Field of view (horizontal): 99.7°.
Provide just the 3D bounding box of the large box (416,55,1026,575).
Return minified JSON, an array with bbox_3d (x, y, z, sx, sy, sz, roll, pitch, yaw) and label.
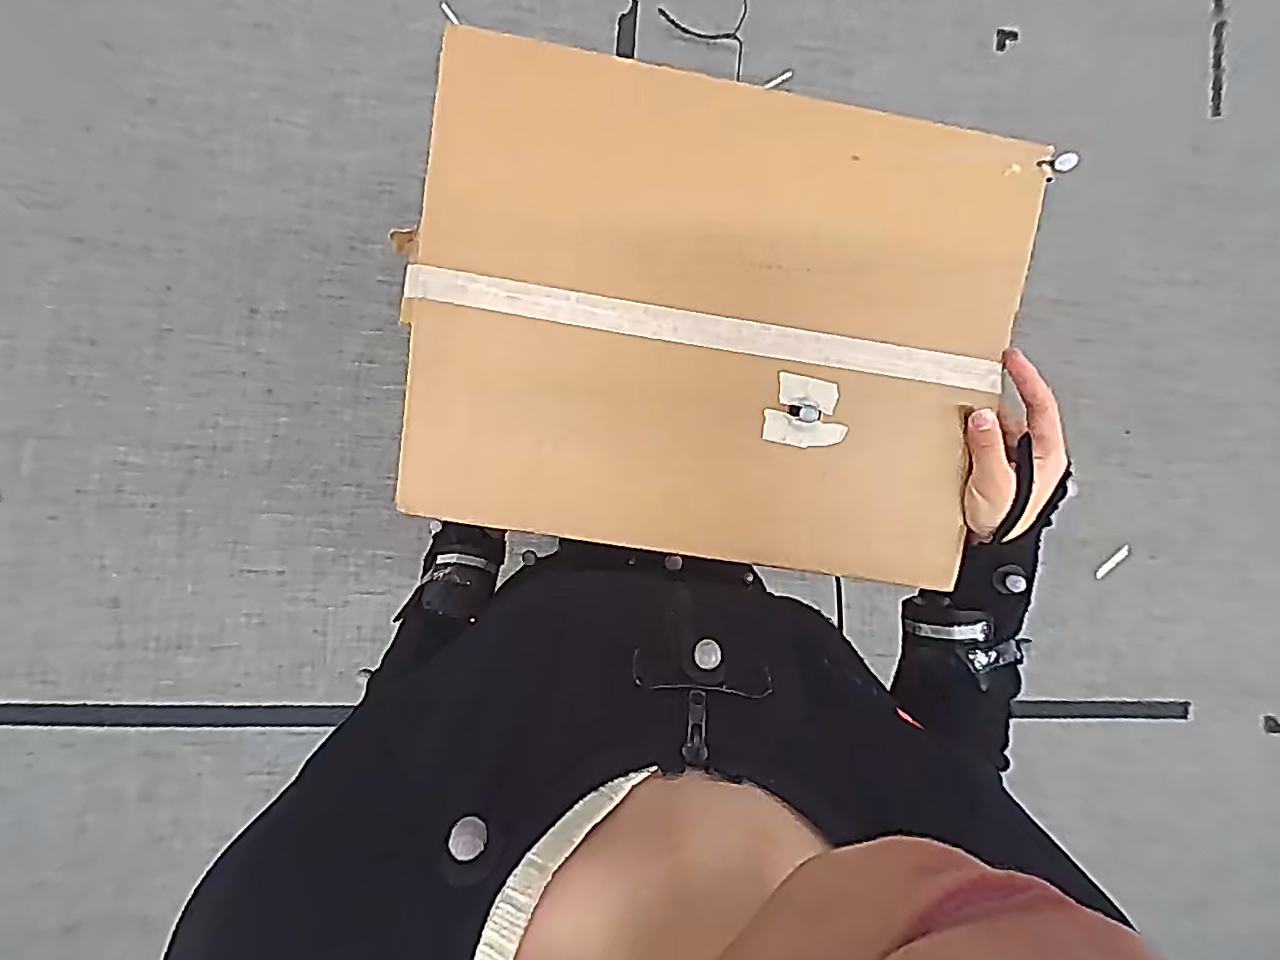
[{"bbox_3d":[0.044,-0.117,0.524,0.408,0.320,0.320,8,97,-5],"label":"large box"}]
